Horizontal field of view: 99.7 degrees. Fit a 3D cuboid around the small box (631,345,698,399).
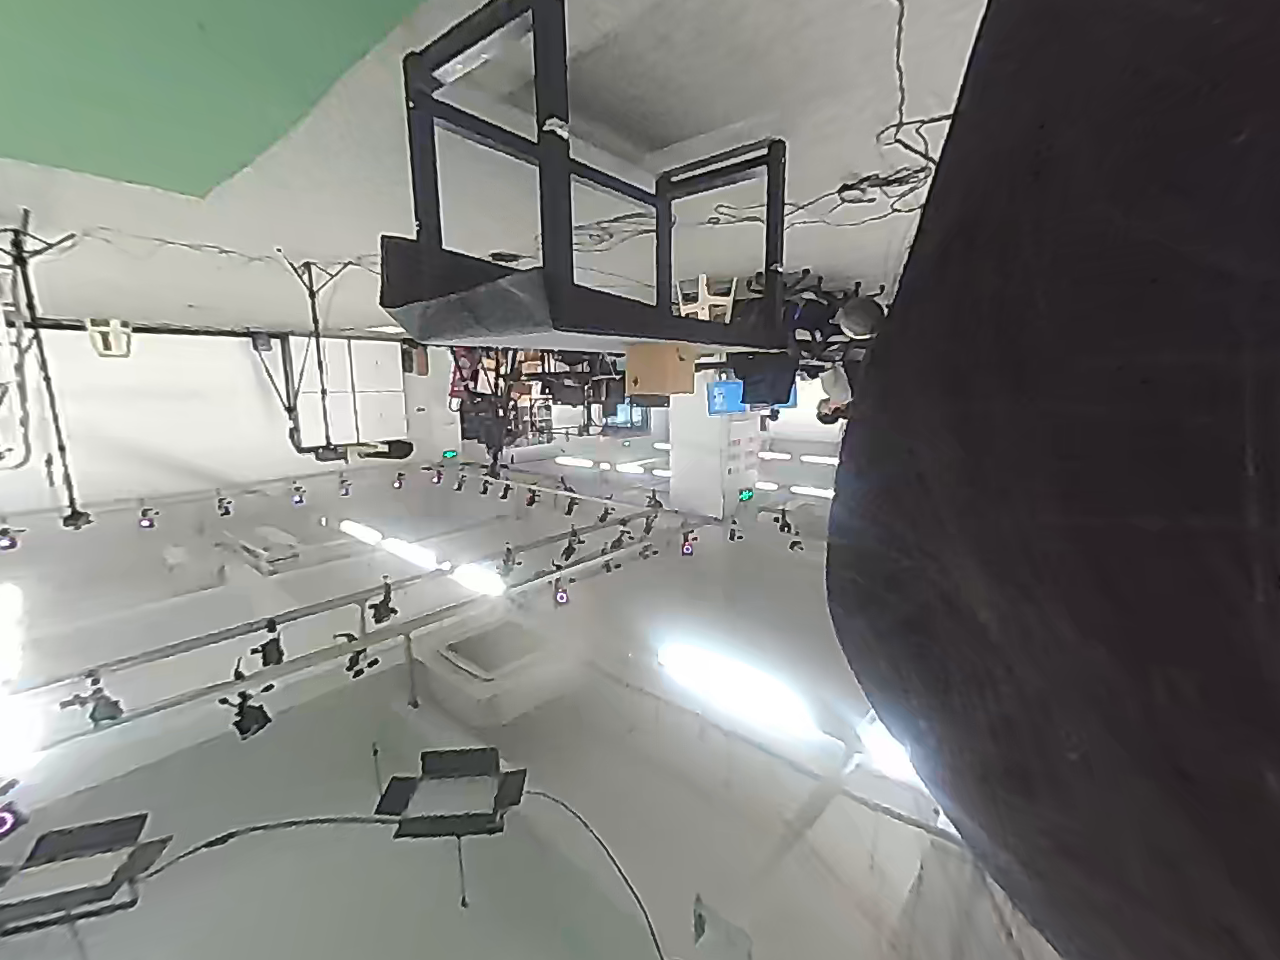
[{"bbox_3d":[0.086,-0.363,1.825,0.179,0.176,0.168,9,-166,40],"label":"small box"}]
